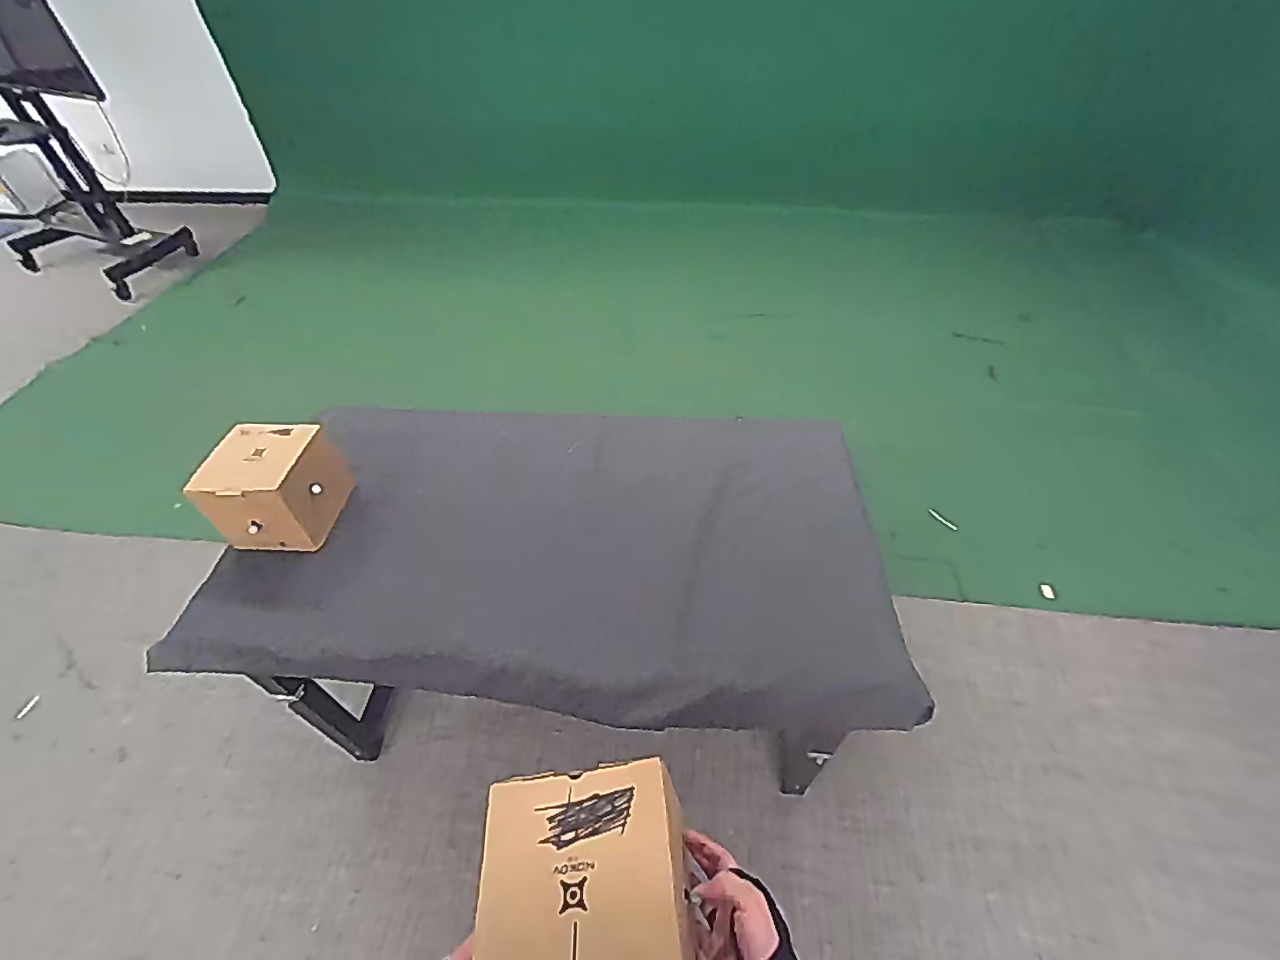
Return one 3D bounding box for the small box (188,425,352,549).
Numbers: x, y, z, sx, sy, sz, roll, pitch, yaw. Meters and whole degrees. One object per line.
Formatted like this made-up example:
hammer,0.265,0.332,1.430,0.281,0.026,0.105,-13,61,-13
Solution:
small box,-0.683,0.016,1.027,0.168,0.176,0.179,2,48,1
